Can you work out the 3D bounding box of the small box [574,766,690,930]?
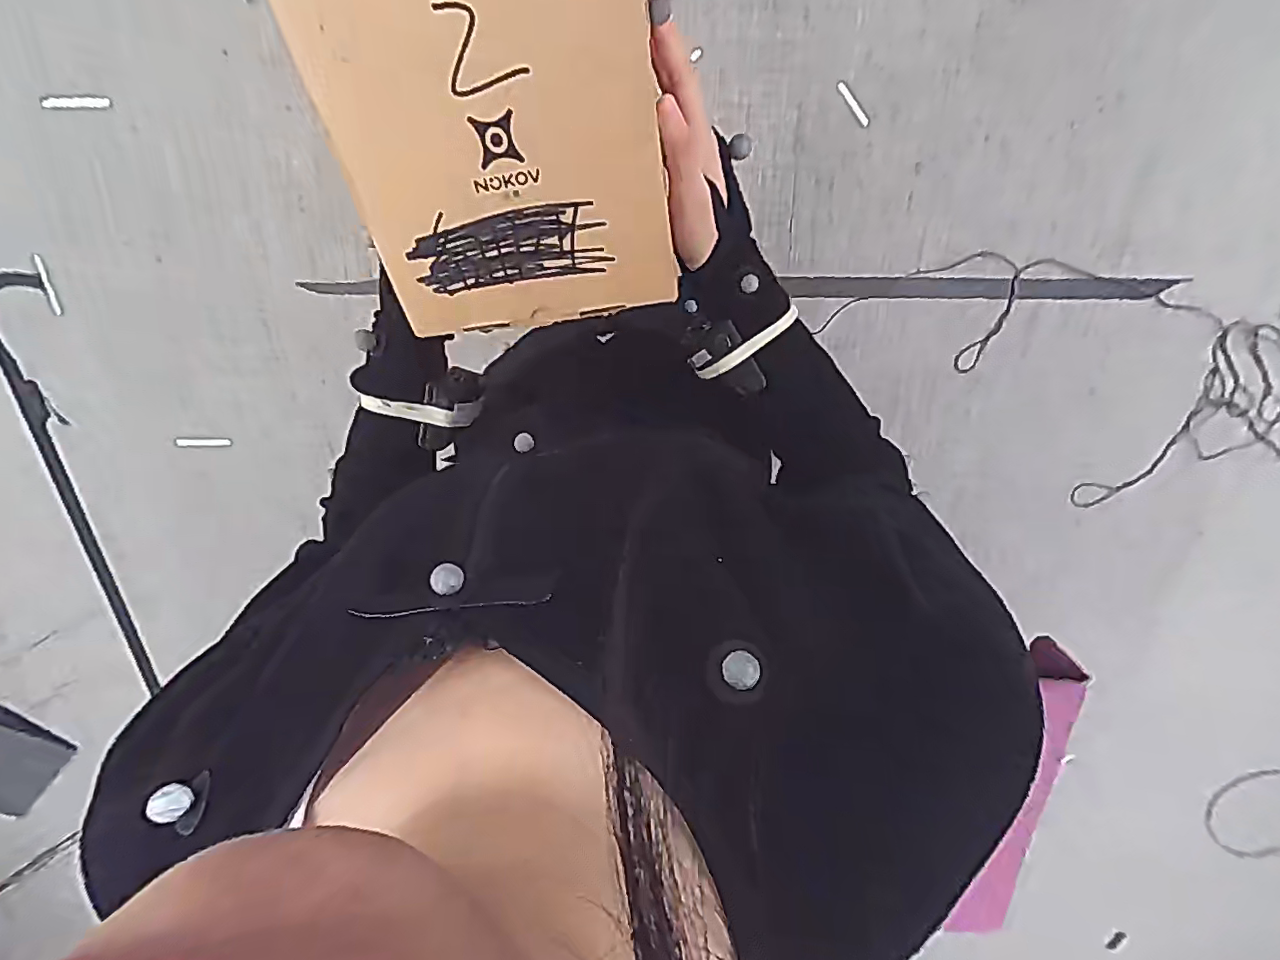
[{"bbox_3d":[-0.014,0.608,0.907,0.179,0.176,0.168,2,110,0],"label":"small box"}]
